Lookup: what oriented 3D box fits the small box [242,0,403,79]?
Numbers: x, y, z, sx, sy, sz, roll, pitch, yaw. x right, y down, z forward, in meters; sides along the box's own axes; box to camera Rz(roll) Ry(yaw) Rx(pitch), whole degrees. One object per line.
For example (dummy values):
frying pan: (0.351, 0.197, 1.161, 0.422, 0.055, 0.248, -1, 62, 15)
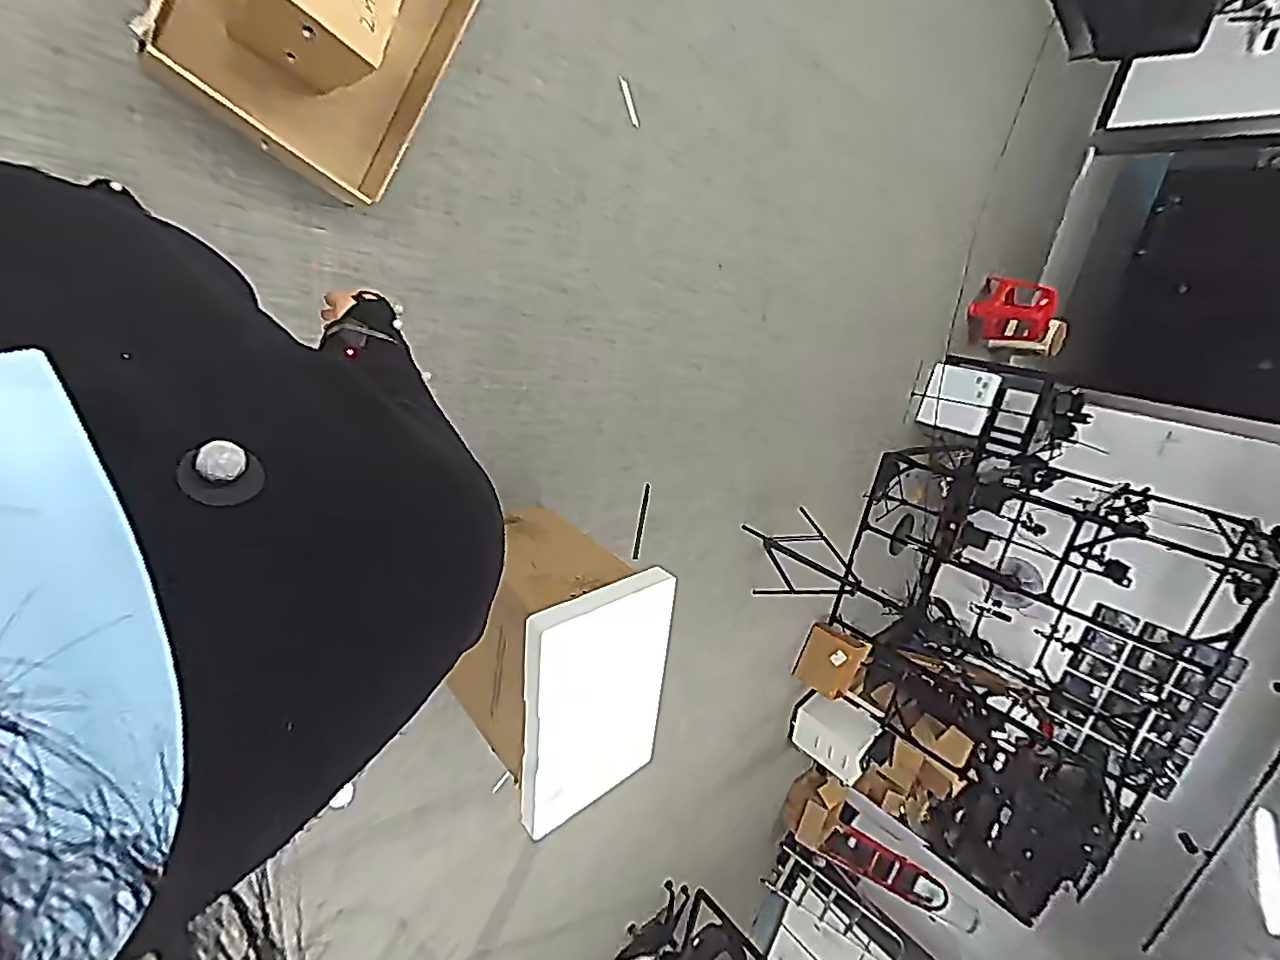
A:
small box: (-0.519, -0.805, 0.889, 0.179, 0.176, 0.168, 20, 93, -50)
